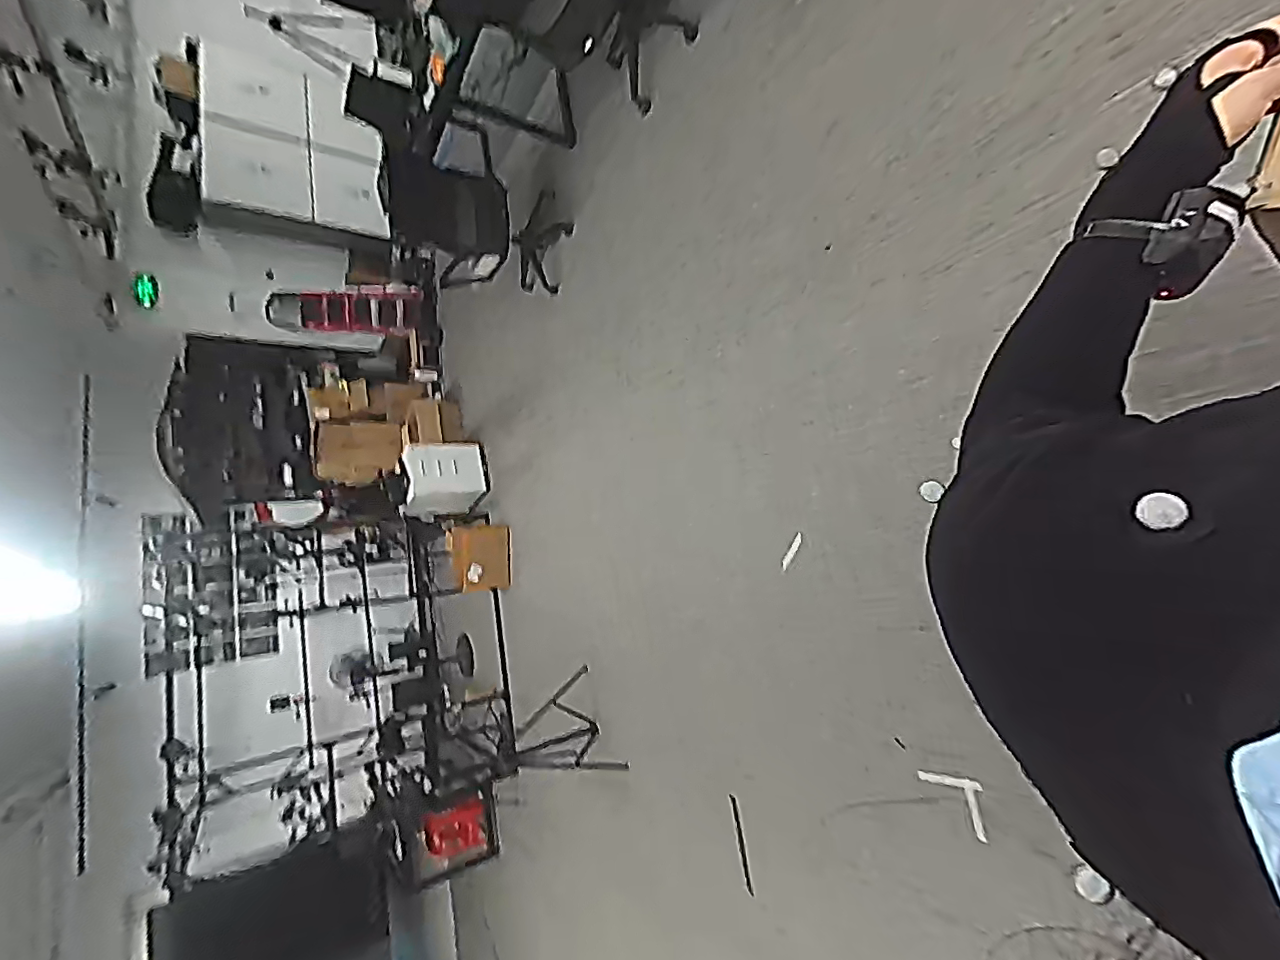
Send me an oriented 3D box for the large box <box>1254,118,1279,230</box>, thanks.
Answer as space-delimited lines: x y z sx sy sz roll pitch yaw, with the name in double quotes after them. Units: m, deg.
0.708 -0.311 0.293 0.408 0.320 0.320 25 112 53 "large box"
